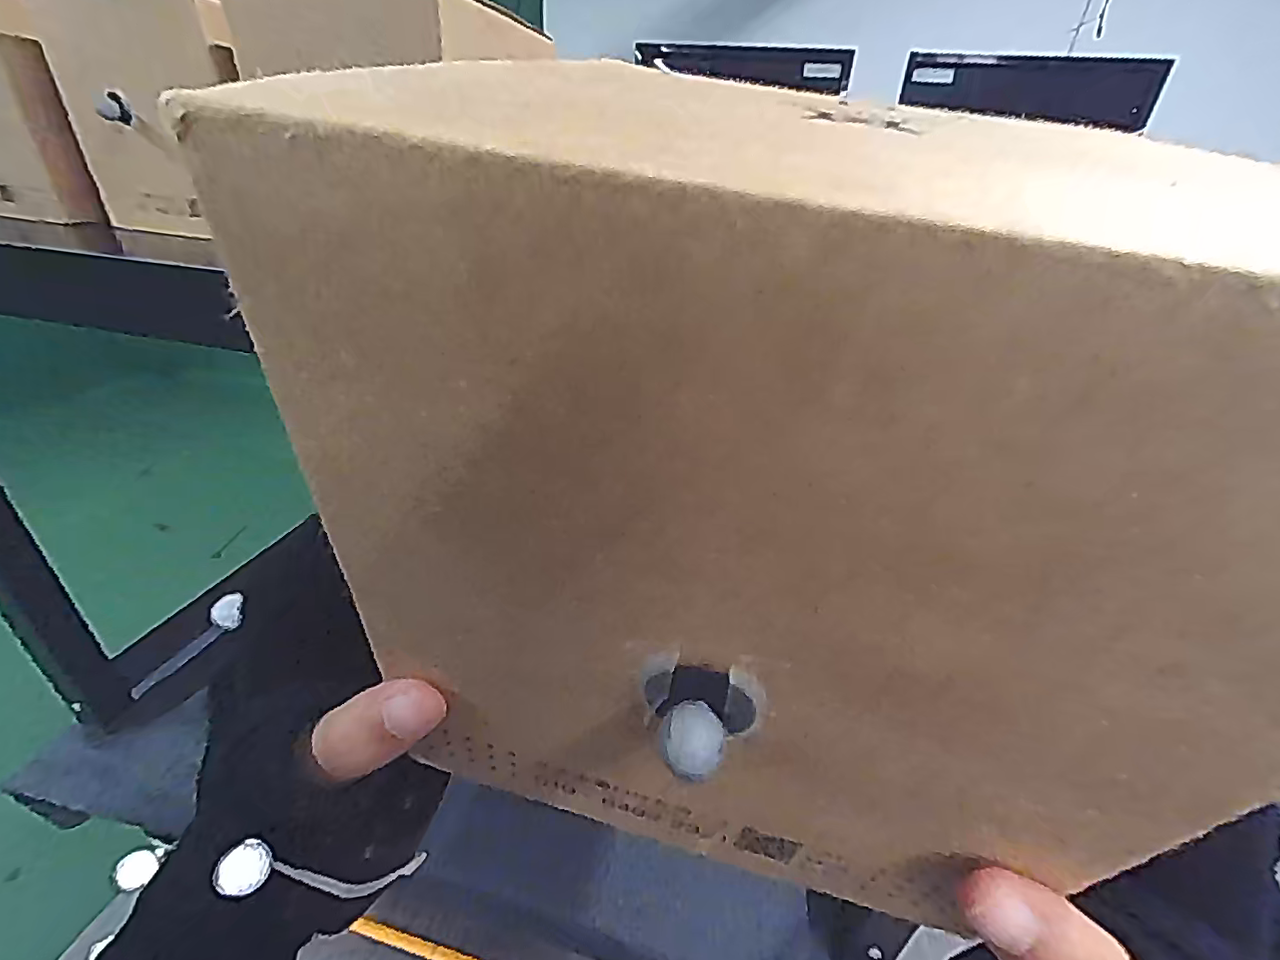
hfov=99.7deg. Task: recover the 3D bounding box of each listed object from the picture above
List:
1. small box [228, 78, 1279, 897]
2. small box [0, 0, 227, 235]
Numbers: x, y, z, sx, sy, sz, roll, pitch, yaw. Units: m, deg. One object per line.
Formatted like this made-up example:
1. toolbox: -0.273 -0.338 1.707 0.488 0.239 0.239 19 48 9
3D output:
1. small box: 0.039 -0.010 0.170 0.168 0.176 0.179 14 40 7
2. small box: -0.554 -0.346 0.530 0.168 0.176 0.179 11 32 11
